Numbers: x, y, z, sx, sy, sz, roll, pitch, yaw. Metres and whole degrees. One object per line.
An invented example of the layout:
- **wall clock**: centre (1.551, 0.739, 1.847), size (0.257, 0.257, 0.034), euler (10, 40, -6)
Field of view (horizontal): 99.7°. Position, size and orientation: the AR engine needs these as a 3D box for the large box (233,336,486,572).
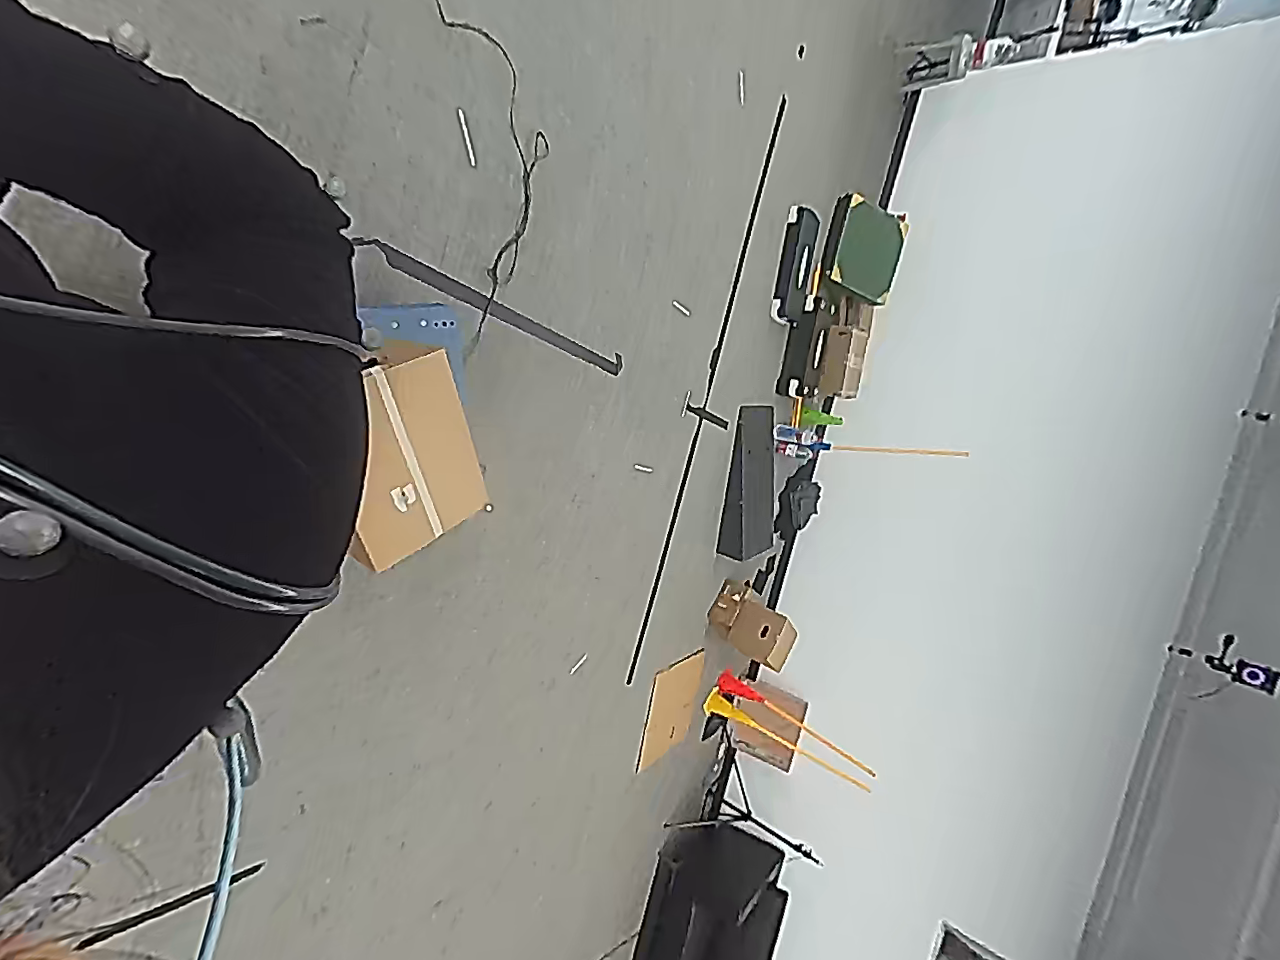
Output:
- **large box**: centre (-0.615, -0.075, 1.229), size (0.320, 0.320, 0.408), euler (-37, 132, -40)
